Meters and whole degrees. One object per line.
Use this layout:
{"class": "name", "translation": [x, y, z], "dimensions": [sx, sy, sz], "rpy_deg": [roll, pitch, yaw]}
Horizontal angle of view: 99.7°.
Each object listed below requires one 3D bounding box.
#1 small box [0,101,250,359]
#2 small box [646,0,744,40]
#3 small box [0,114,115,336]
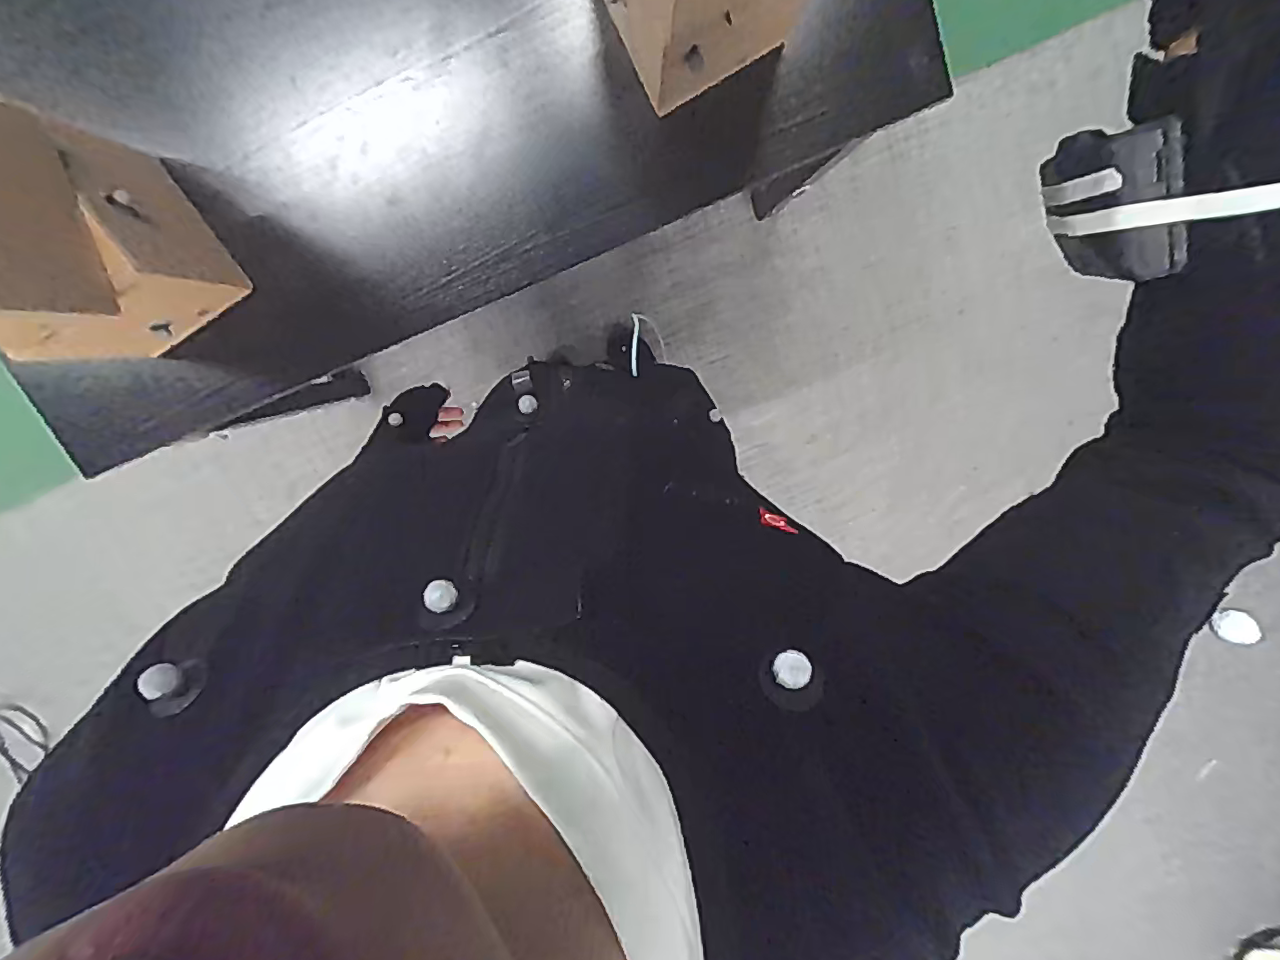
{"class": "small box", "translation": [-0.589, -0.248, 0.585], "dimensions": [0.168, 0.176, 0.179], "rpy_deg": [-31, 105, 6]}
{"class": "small box", "translation": [0.053, -0.468, 0.368], "dimensions": [0.168, 0.176, 0.179], "rpy_deg": [-30, 103, 7]}
{"class": "small box", "translation": [-0.588, -0.204, 0.427], "dimensions": [0.168, 0.176, 0.179], "rpy_deg": [-10, 105, 0]}
